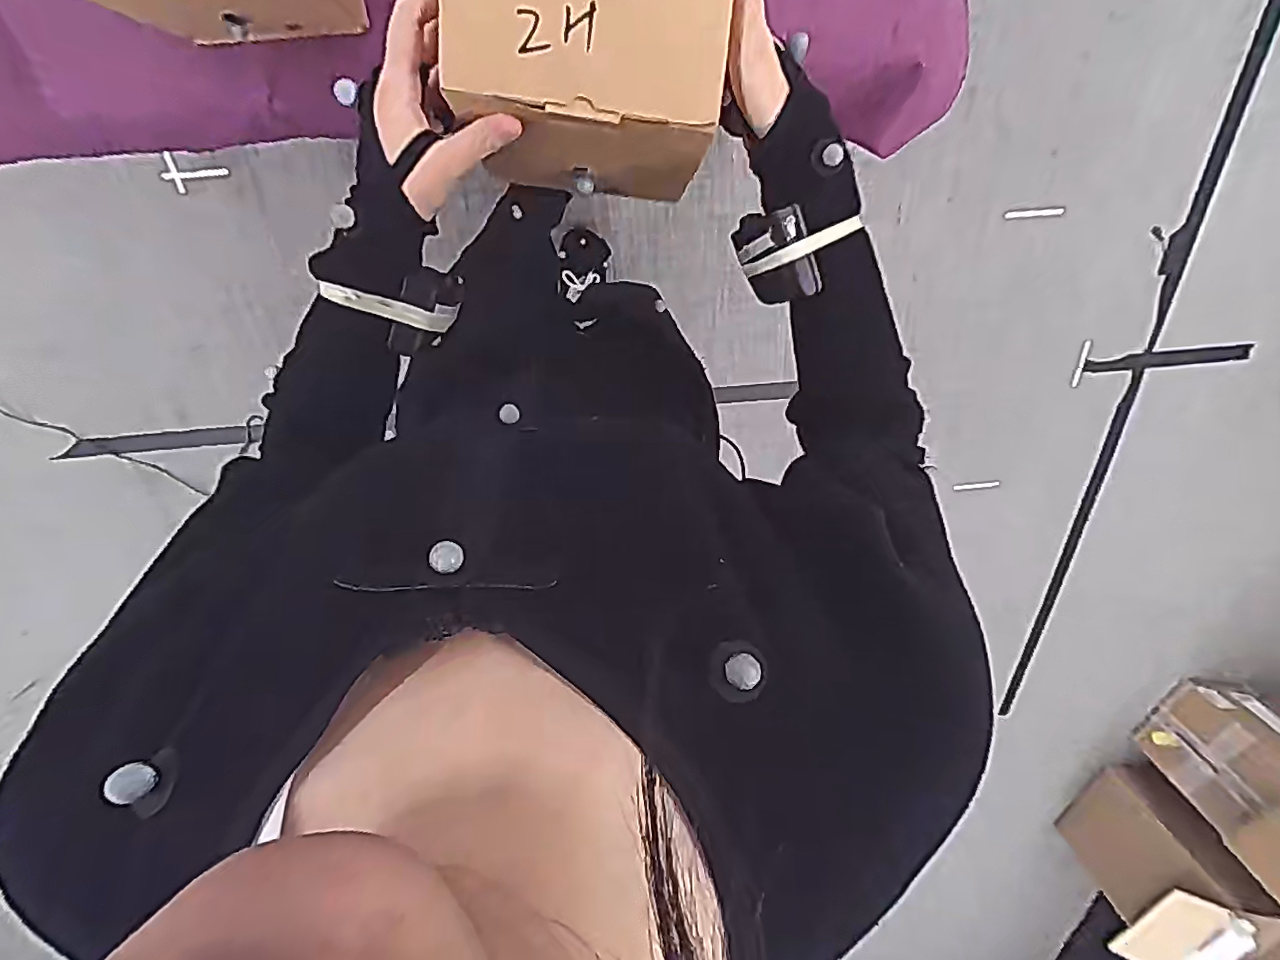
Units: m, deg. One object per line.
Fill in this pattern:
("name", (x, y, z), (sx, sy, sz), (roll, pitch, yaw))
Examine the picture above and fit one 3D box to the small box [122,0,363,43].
("small box", (-0.340, -0.462, 0.405), (0.168, 0.176, 0.179), (-7, 119, -3))
